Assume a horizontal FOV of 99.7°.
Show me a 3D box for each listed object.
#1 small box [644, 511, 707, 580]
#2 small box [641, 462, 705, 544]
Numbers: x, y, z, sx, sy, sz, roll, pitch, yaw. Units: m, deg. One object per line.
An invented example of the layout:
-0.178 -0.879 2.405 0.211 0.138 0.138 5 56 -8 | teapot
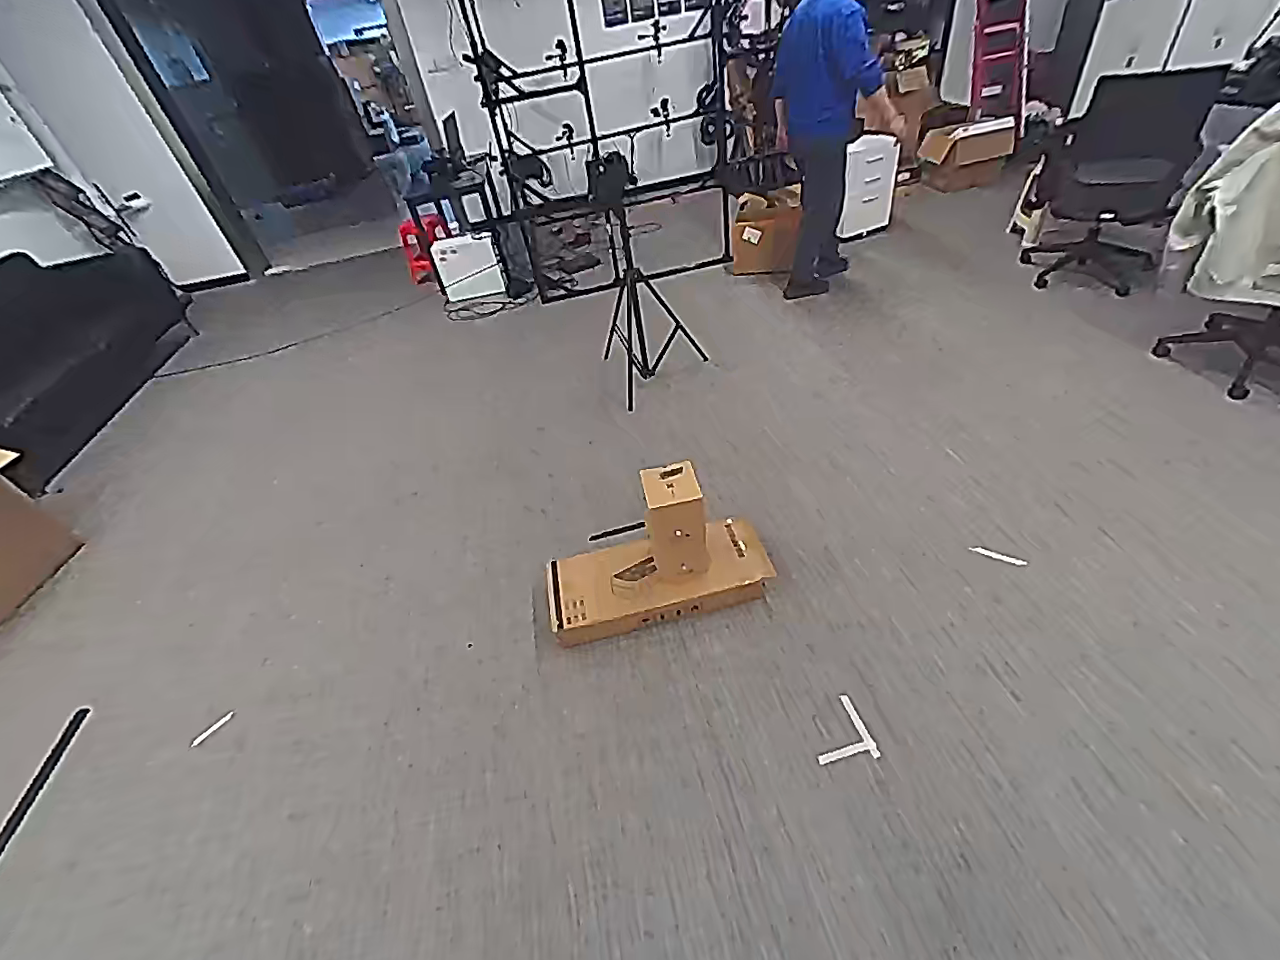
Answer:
0.119 0.200 1.794 0.168 0.176 0.179 -15 40 -4 | small box
0.103 0.074 1.689 0.168 0.176 0.179 -12 41 -1 | small box
